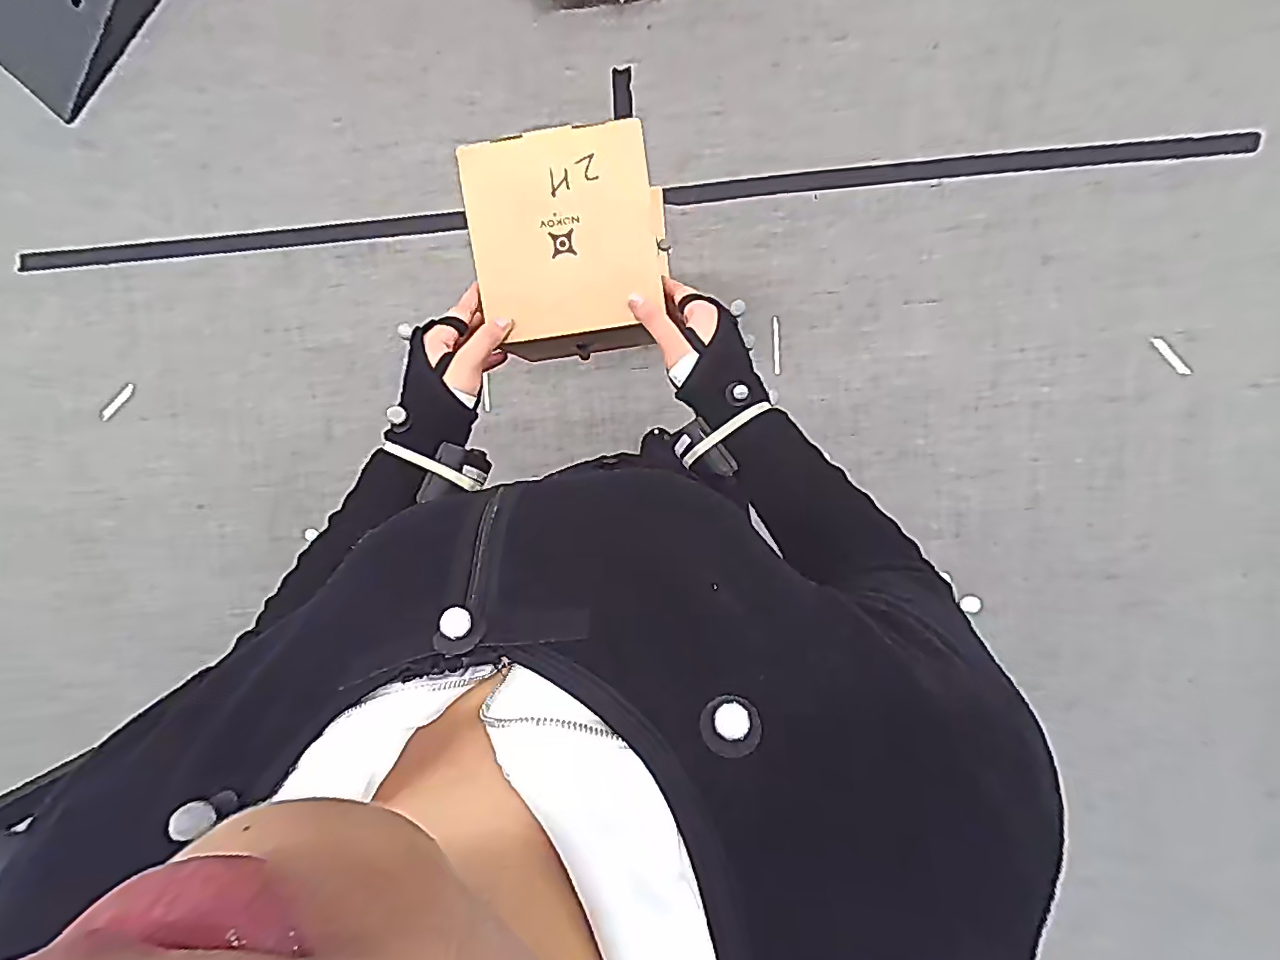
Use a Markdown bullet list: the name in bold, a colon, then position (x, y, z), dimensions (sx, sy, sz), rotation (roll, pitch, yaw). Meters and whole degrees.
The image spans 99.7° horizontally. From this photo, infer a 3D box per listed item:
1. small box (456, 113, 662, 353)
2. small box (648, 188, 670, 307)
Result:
- **small box**: position (-0.067, -0.232, 0.559), dimensions (0.168, 0.176, 0.179), rotation (-8, 96, 2)
- **small box**: position (-0.032, -0.439, 1.059), dimensions (0.168, 0.176, 0.179), rotation (-5, 93, 3)
